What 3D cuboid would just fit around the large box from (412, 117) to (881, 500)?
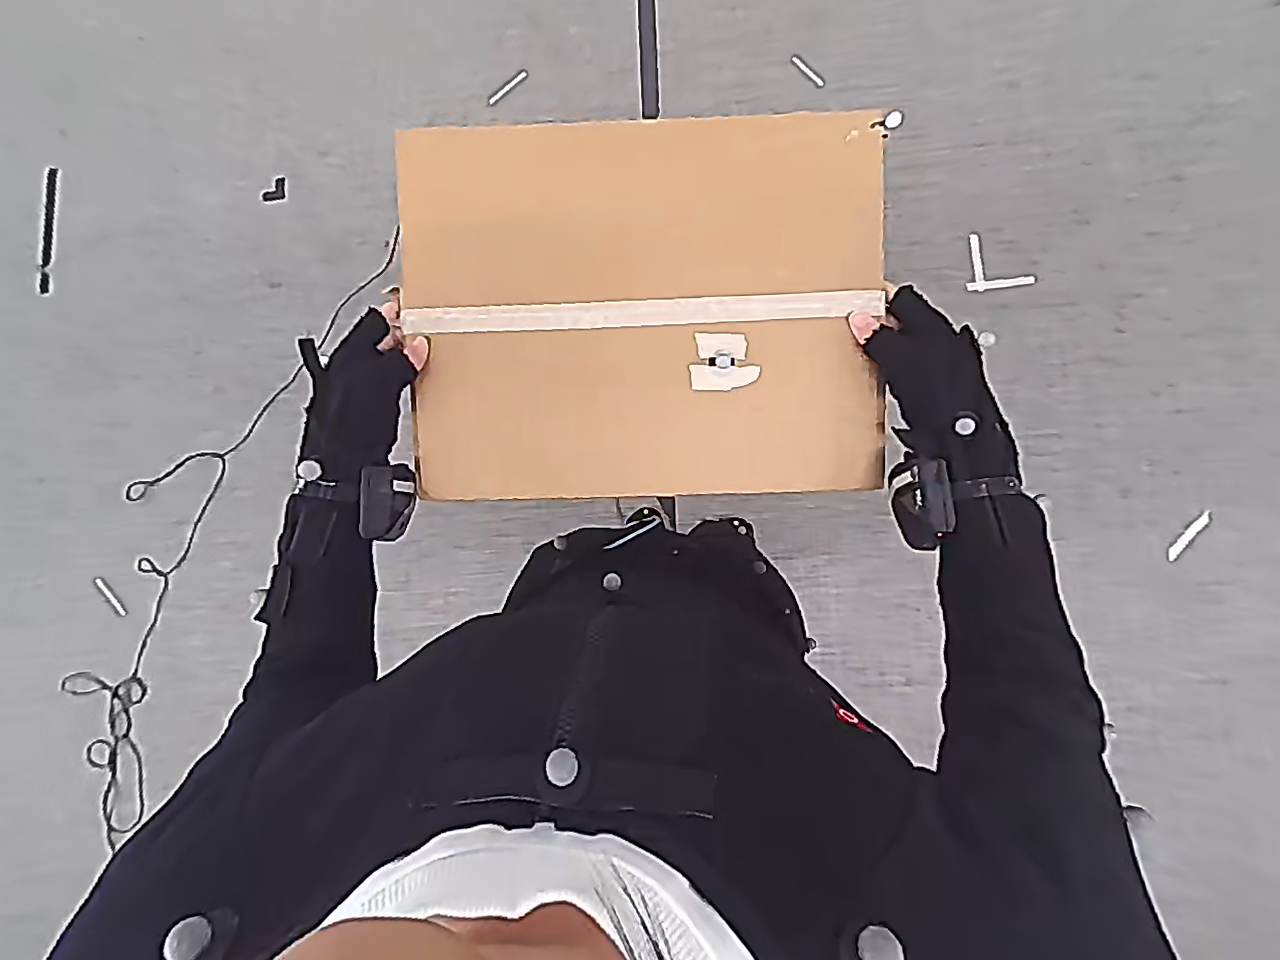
[{"bbox_3d":[0.008,-0.155,0.619,0.408,0.320,0.320,-2,94,1],"label":"large box"}]
